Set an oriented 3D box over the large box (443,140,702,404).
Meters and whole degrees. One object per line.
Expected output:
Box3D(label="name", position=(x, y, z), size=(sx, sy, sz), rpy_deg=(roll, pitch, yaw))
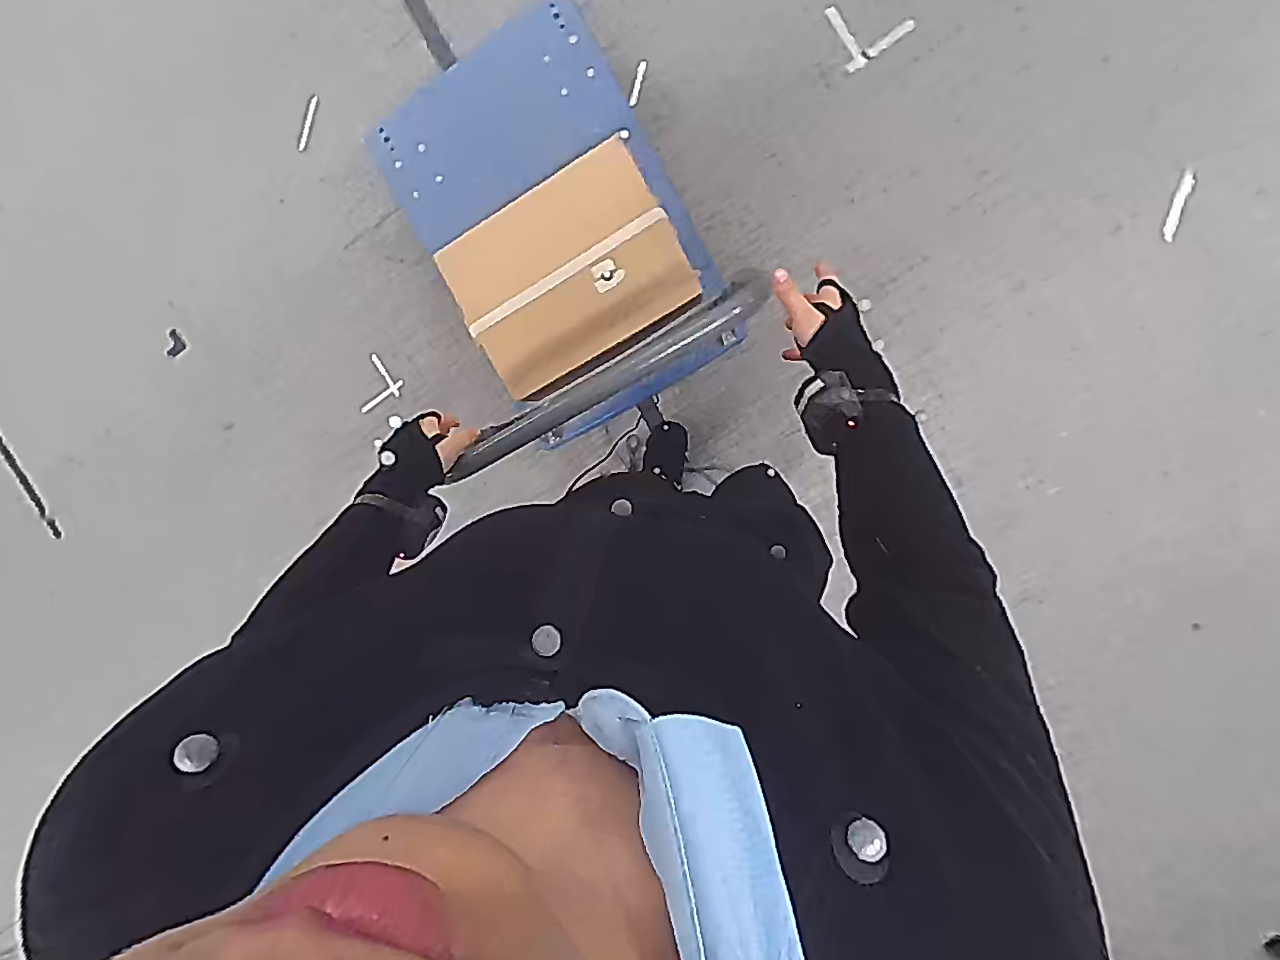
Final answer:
Box3D(label="large box", position=(-0.115, -0.392, 1.136), size=(0.408, 0.320, 0.320), rpy_deg=(-28, 94, 8))
